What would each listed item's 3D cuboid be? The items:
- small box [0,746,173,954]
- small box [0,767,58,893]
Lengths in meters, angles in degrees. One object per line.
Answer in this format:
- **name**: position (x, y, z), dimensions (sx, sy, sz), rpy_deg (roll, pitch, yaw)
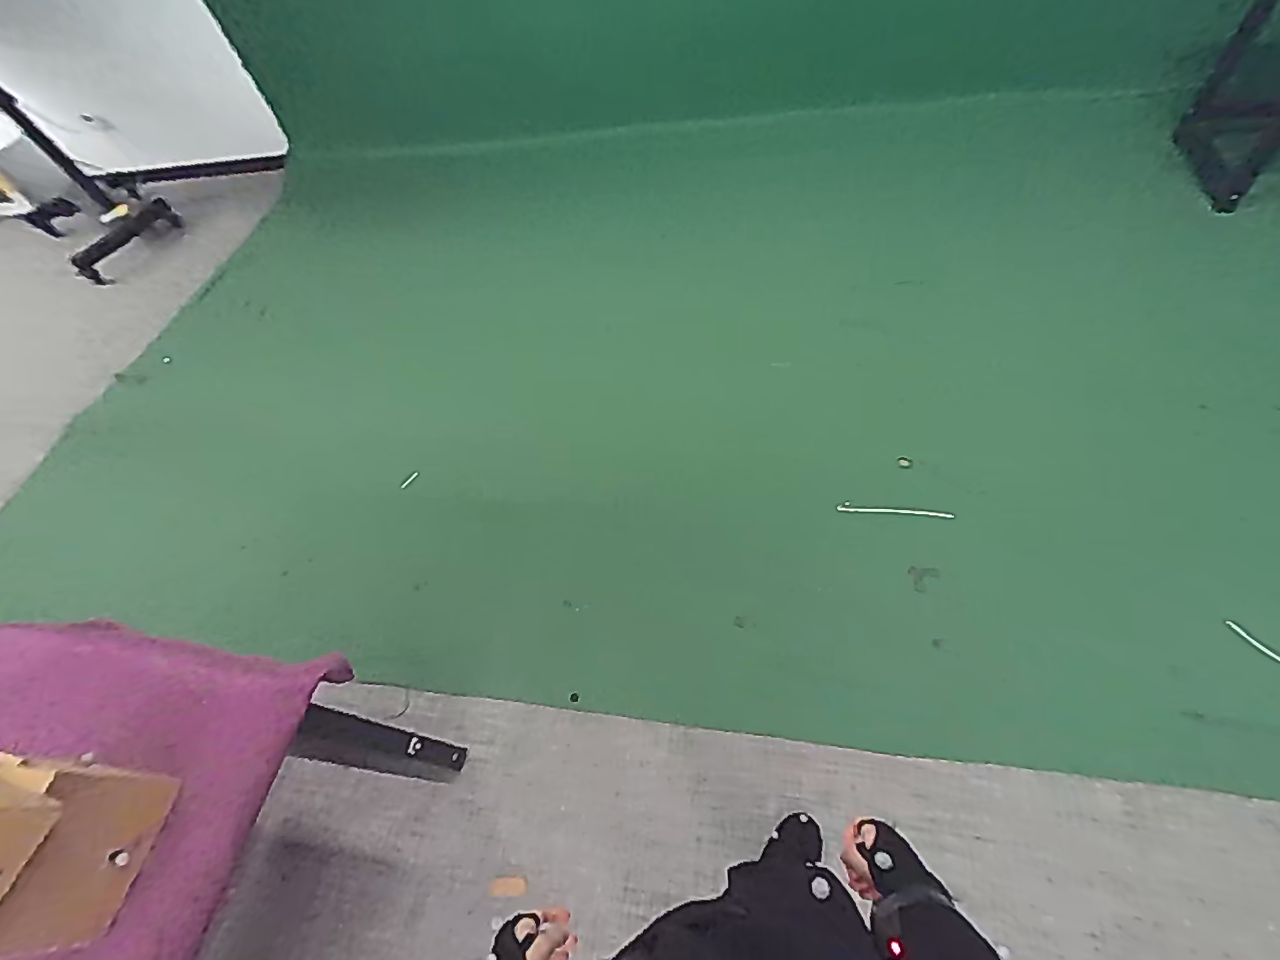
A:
- **small box**: position (-0.727, 0.435, 0.649), dimensions (0.168, 0.176, 0.179), rpy_deg (1, 57, 14)
- **small box**: position (-0.738, 0.358, 0.504), dimensions (0.179, 0.176, 0.168), rpy_deg (9, 59, 16)
